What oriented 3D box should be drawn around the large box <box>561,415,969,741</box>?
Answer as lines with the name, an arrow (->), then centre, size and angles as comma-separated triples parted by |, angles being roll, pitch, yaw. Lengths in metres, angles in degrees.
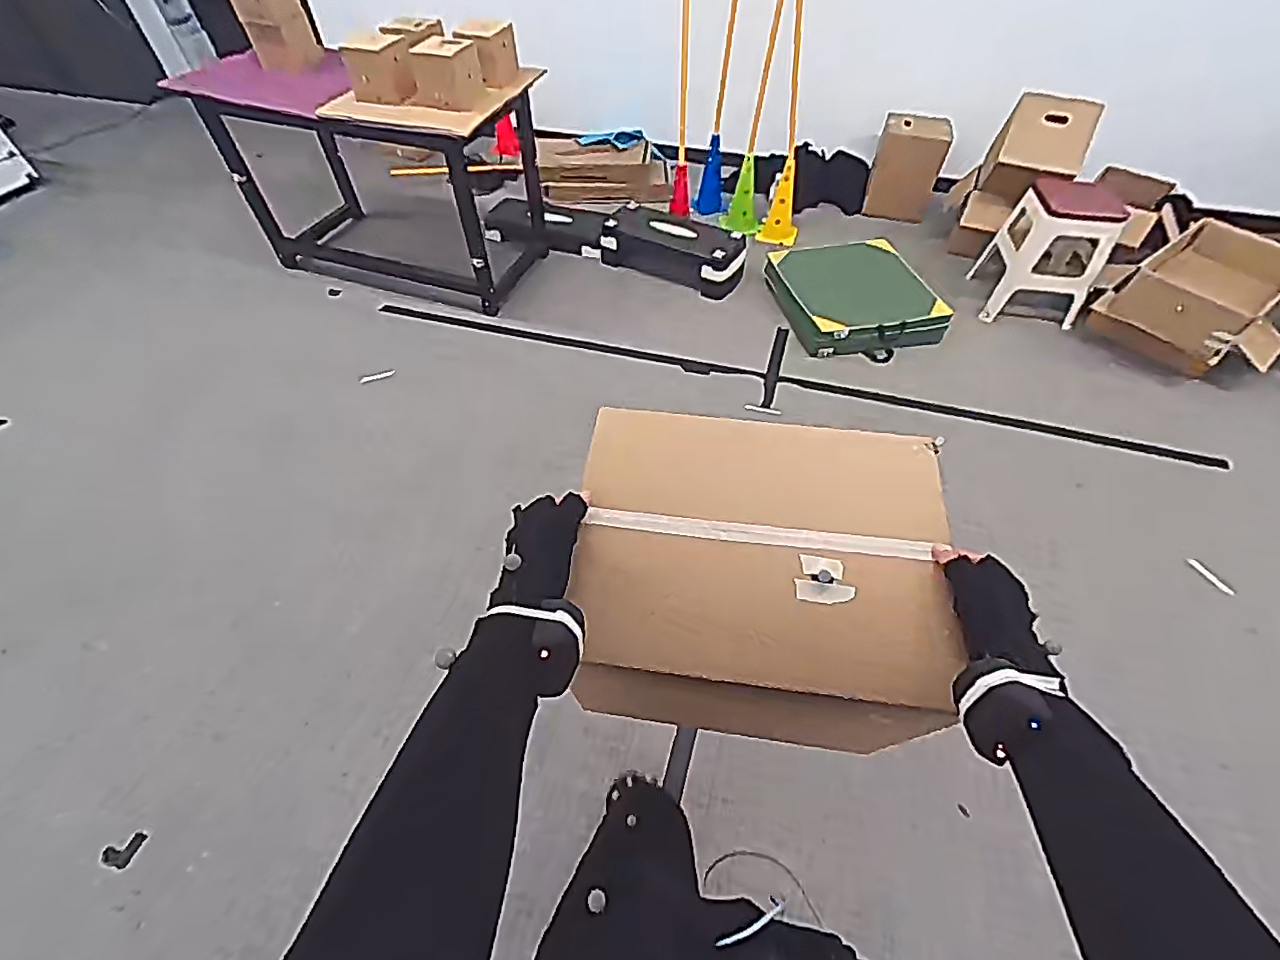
large box -> 0.137, 0.140, 0.728 | 0.408, 0.320, 0.320 | 7, 59, 6
